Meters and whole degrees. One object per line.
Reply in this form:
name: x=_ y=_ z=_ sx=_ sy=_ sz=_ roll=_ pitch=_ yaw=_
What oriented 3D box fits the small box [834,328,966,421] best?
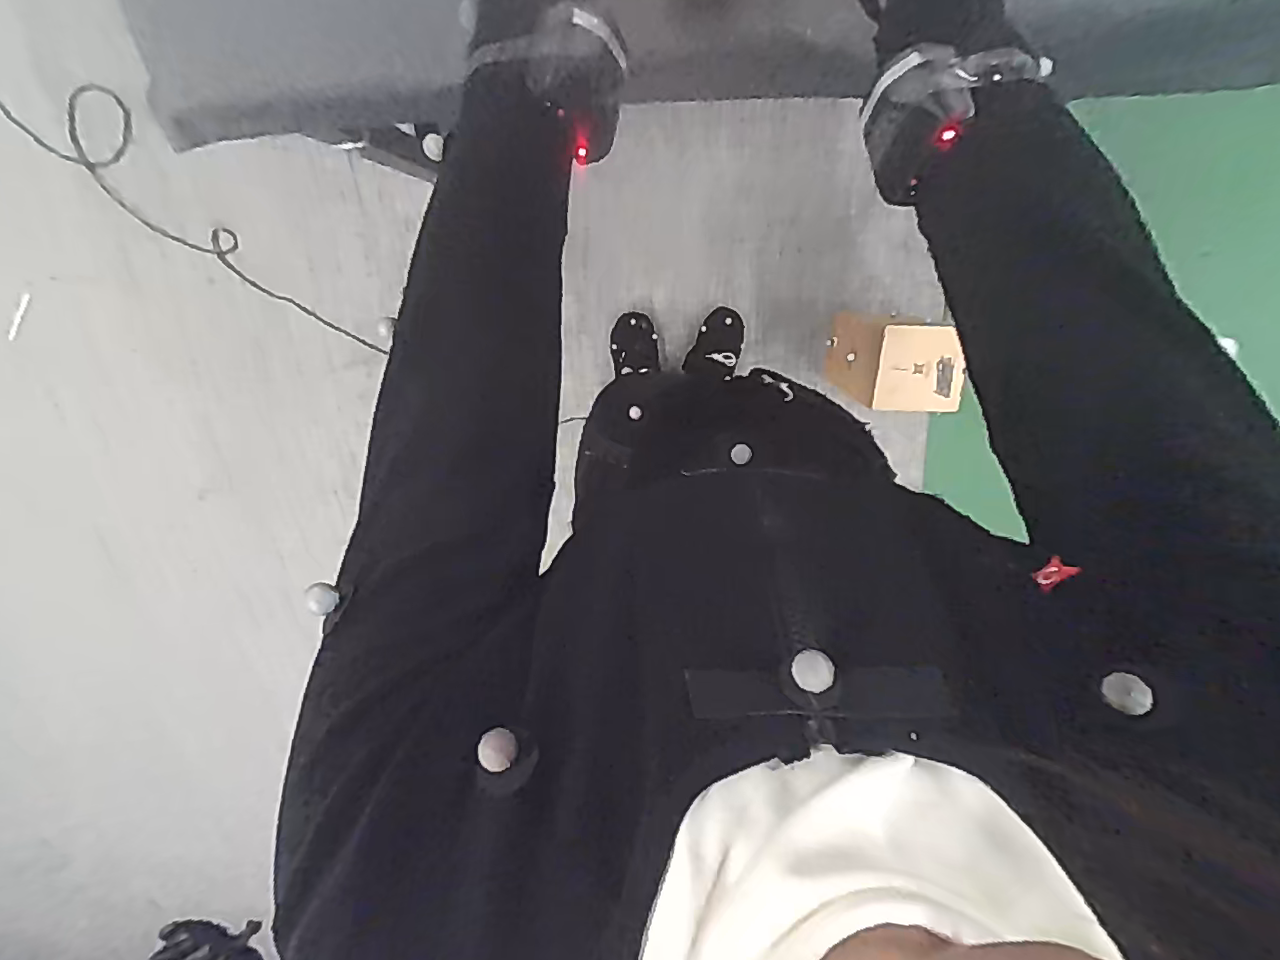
small box: x=0.531 y=-0.225 z=1.128 sx=0.179 sy=0.176 sz=0.168 roll=2 pitch=110 yaw=-1

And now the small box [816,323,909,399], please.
small box: x=0.539 y=-0.281 z=1.284 sx=0.179 sy=0.176 sz=0.168 roll=3 pitch=110 yaw=-1
